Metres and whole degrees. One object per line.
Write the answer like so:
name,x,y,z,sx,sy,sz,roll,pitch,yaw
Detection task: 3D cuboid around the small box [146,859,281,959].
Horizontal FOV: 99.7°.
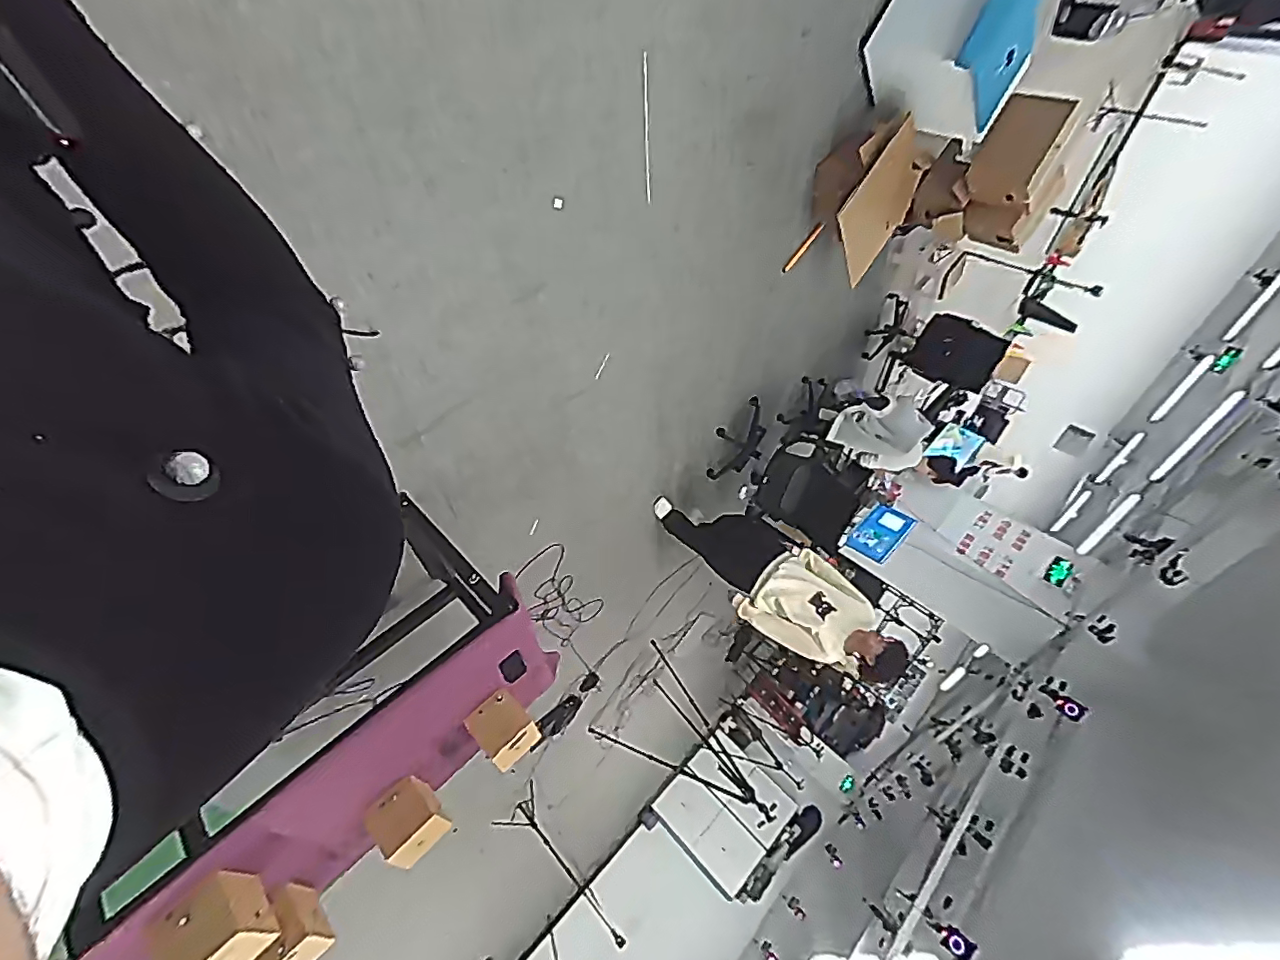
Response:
small box,-1.007,1.042,1.283,0.168,0.176,0.179,-39,147,-26

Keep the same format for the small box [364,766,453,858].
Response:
small box,-0.722,1.033,1.688,0.168,0.176,0.179,-38,147,-26

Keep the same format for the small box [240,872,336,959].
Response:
small box,-1.000,1.244,1.517,0.168,0.176,0.179,-37,147,-27

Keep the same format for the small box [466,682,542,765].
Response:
small box,-0.460,0.816,1.824,0.168,0.176,0.179,-37,148,-25
